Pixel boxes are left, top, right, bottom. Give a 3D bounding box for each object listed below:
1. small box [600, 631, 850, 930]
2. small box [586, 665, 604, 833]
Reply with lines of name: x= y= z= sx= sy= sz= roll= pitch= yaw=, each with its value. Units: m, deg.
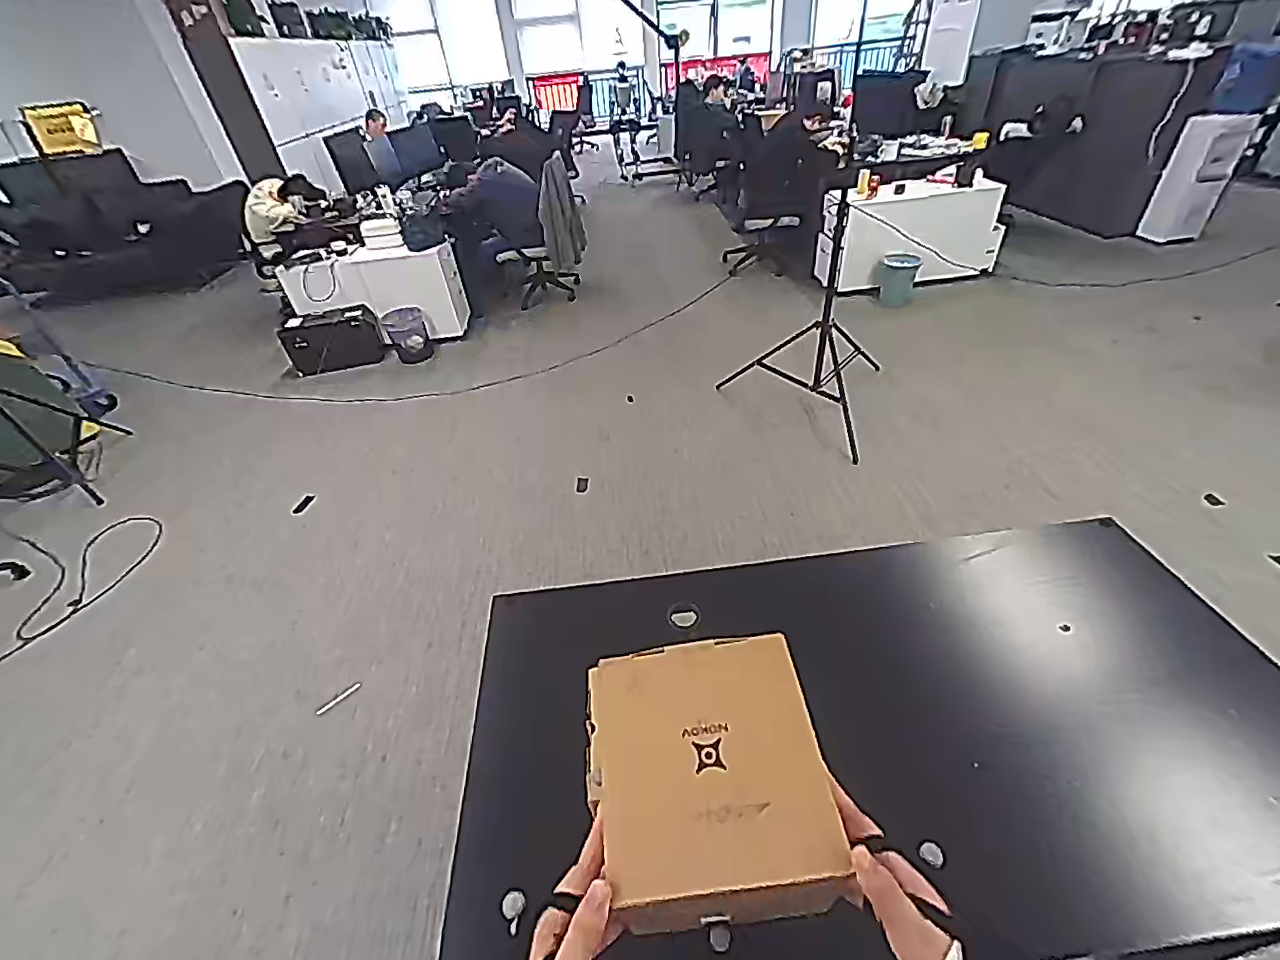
small box: x=0.060 y=0.260 z=0.470 sx=0.168 sy=0.176 sz=0.179 roll=-9 pitch=44 yaw=1
small box: x=0.029 y=0.352 z=0.705 sx=0.179 sy=0.176 sz=0.168 roll=-6 pitch=39 yaw=-1
